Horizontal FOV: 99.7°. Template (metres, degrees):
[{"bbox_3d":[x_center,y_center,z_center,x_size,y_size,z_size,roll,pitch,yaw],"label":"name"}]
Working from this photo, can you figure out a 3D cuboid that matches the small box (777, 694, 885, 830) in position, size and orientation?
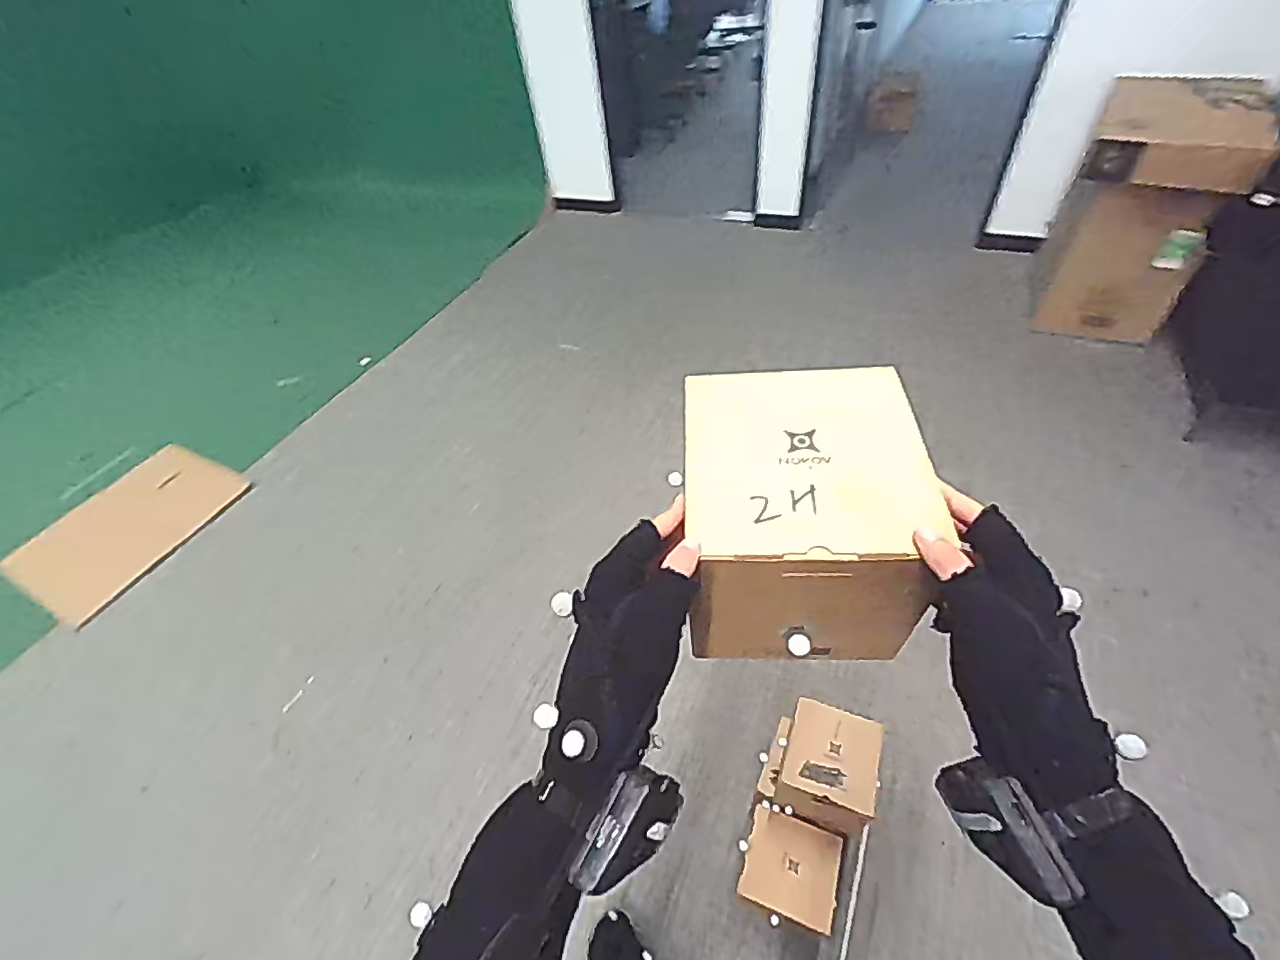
[{"bbox_3d":[0.379,0.573,1.092,0.168,0.176,0.179,15,51,19],"label":"small box"}]
